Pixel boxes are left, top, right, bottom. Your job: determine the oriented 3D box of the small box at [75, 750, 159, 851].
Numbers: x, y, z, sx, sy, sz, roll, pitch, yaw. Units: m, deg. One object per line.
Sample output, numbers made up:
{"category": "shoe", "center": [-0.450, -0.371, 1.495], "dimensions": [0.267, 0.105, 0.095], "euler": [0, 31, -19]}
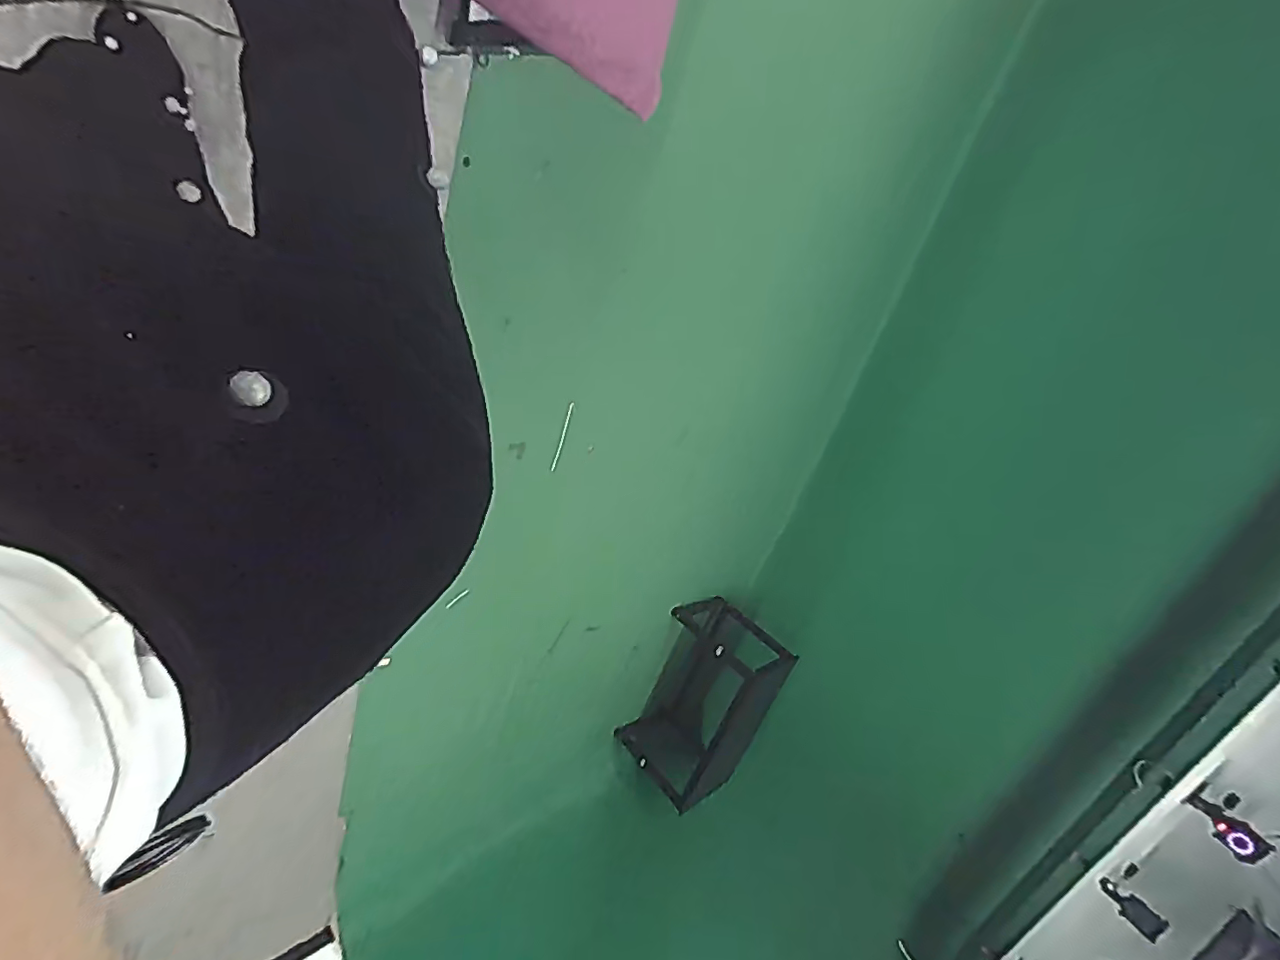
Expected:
{"category": "small box", "center": [-1.604, 0.972, 1.654], "dimensions": [0.179, 0.176, 0.168], "euler": [-1, 121, -48]}
